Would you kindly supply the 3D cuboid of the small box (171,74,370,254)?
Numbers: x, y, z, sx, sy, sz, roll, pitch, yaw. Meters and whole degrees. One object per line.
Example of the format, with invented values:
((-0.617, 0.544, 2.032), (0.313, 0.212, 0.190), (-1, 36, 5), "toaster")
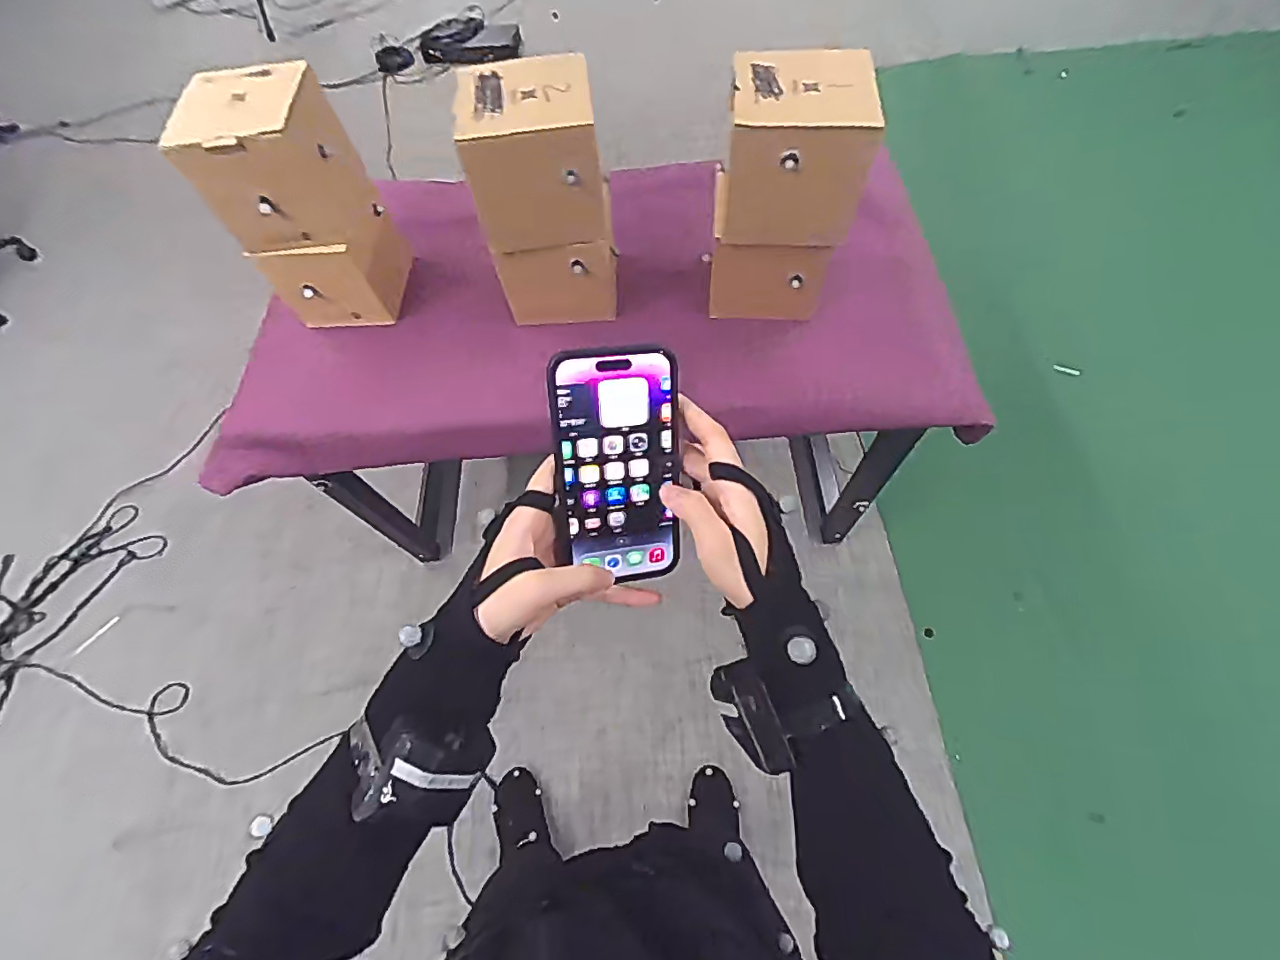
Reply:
((-0.531, -0.459, 0.808), (0.168, 0.176, 0.179), (-6, 63, 1), "small box")

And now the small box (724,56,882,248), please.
((0.207, -0.439, 0.737), (0.179, 0.176, 0.168), (3, 62, 6), "small box")

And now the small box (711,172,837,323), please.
((0.211, -0.376, 0.889), (0.179, 0.176, 0.168), (3, 62, 7), "small box")

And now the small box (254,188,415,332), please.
((-0.519, -0.376, 0.949), (0.168, 0.176, 0.179), (-2, 62, 4), "small box")

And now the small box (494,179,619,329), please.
((-0.129, -0.375, 0.915), (0.179, 0.176, 0.168), (-3, 62, 4), "small box")
